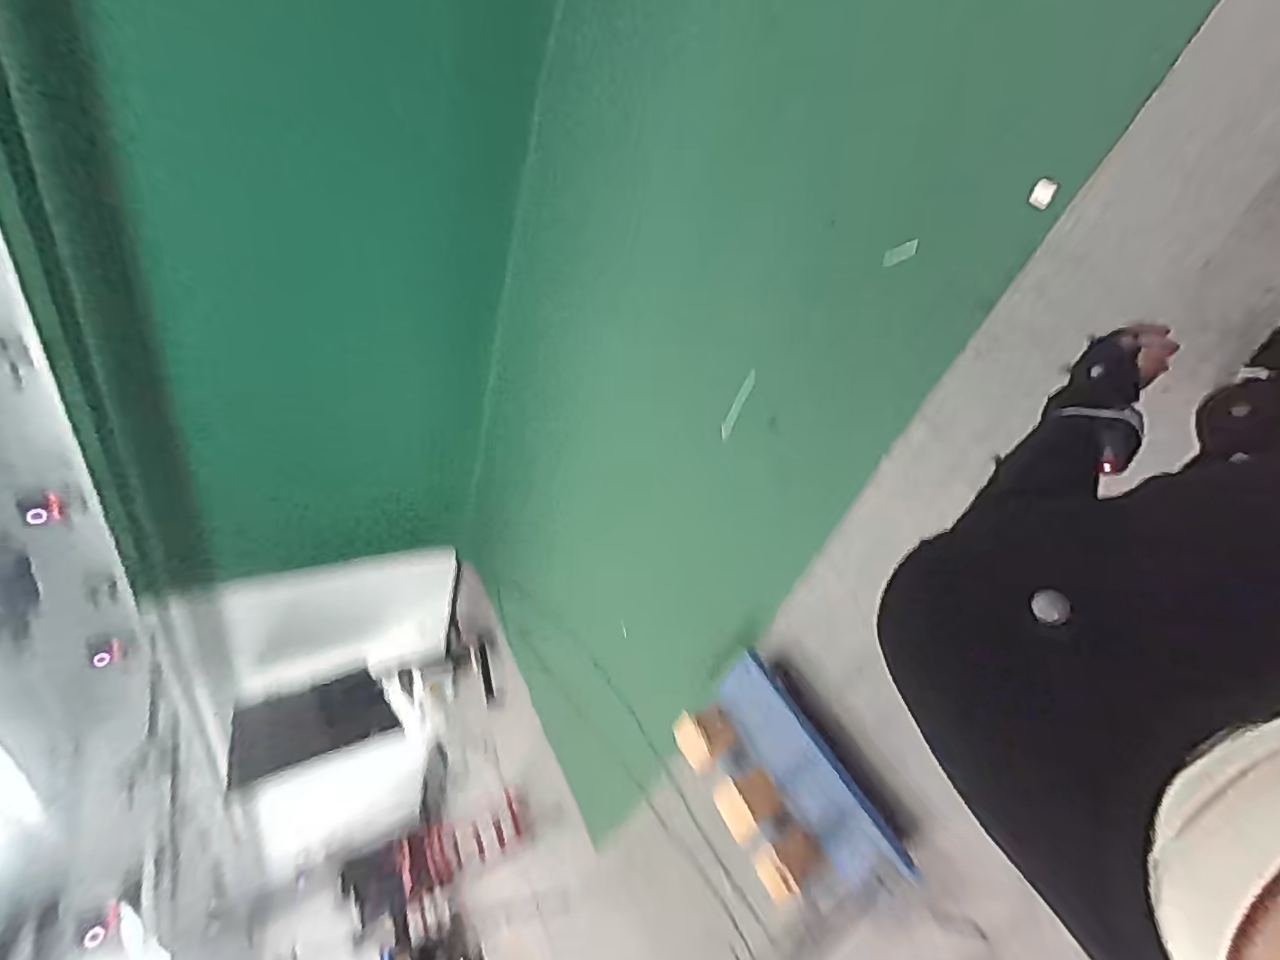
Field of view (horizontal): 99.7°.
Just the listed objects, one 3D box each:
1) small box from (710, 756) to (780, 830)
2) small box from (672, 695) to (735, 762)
[{"bbox_3d":[0.413,1.221,2.114,0.168,0.176,0.179,53,134,35],"label":"small box"},{"bbox_3d":[0.269,1.043,2.275,0.168,0.176,0.179,51,134,34],"label":"small box"}]
